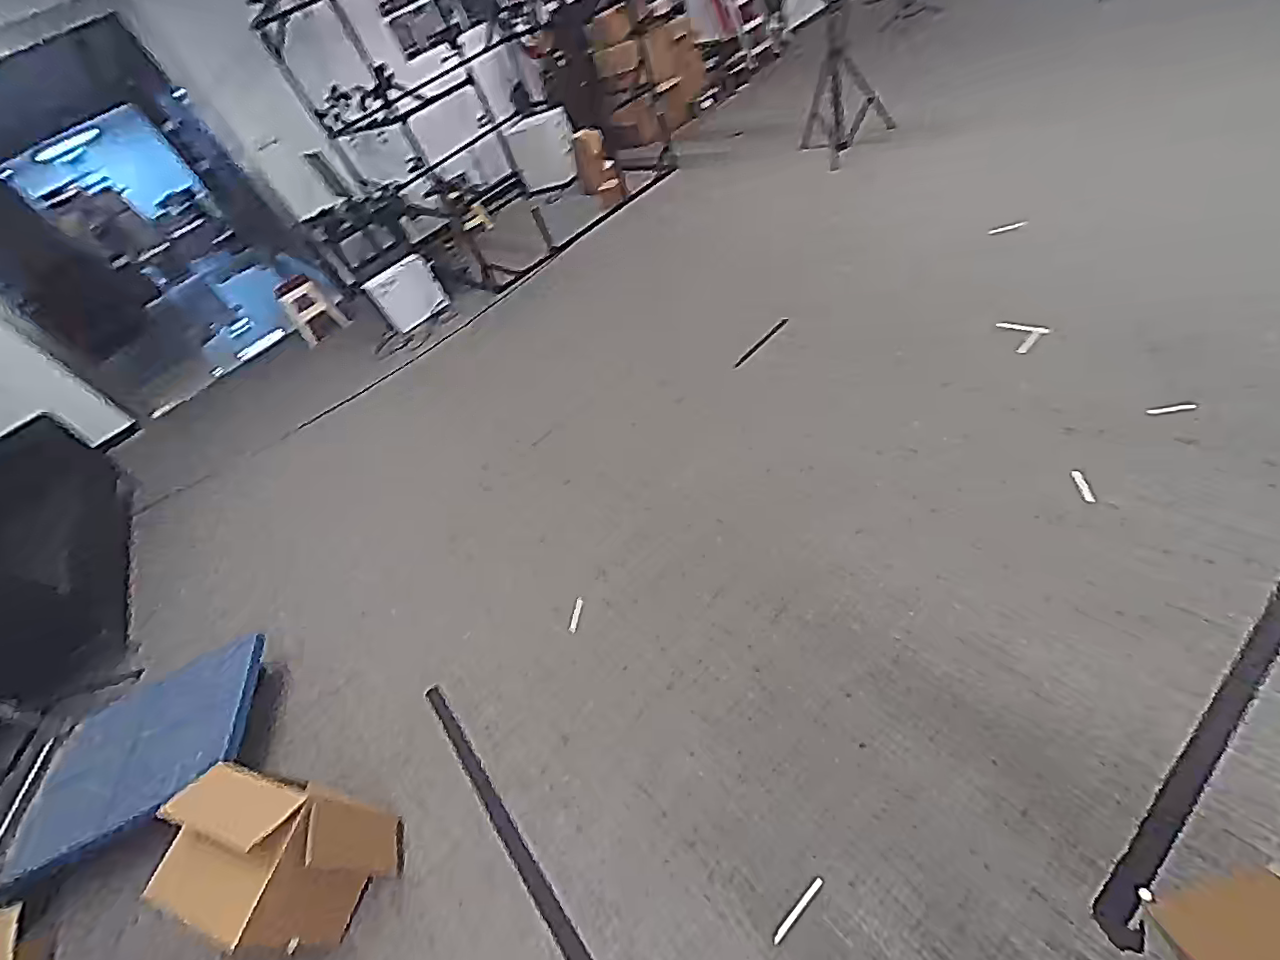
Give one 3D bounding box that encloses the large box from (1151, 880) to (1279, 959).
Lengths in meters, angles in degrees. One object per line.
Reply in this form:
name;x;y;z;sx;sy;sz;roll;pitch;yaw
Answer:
large box;0.795;0.600;0.449;0.320;0.408;0.320;-27;70;13
